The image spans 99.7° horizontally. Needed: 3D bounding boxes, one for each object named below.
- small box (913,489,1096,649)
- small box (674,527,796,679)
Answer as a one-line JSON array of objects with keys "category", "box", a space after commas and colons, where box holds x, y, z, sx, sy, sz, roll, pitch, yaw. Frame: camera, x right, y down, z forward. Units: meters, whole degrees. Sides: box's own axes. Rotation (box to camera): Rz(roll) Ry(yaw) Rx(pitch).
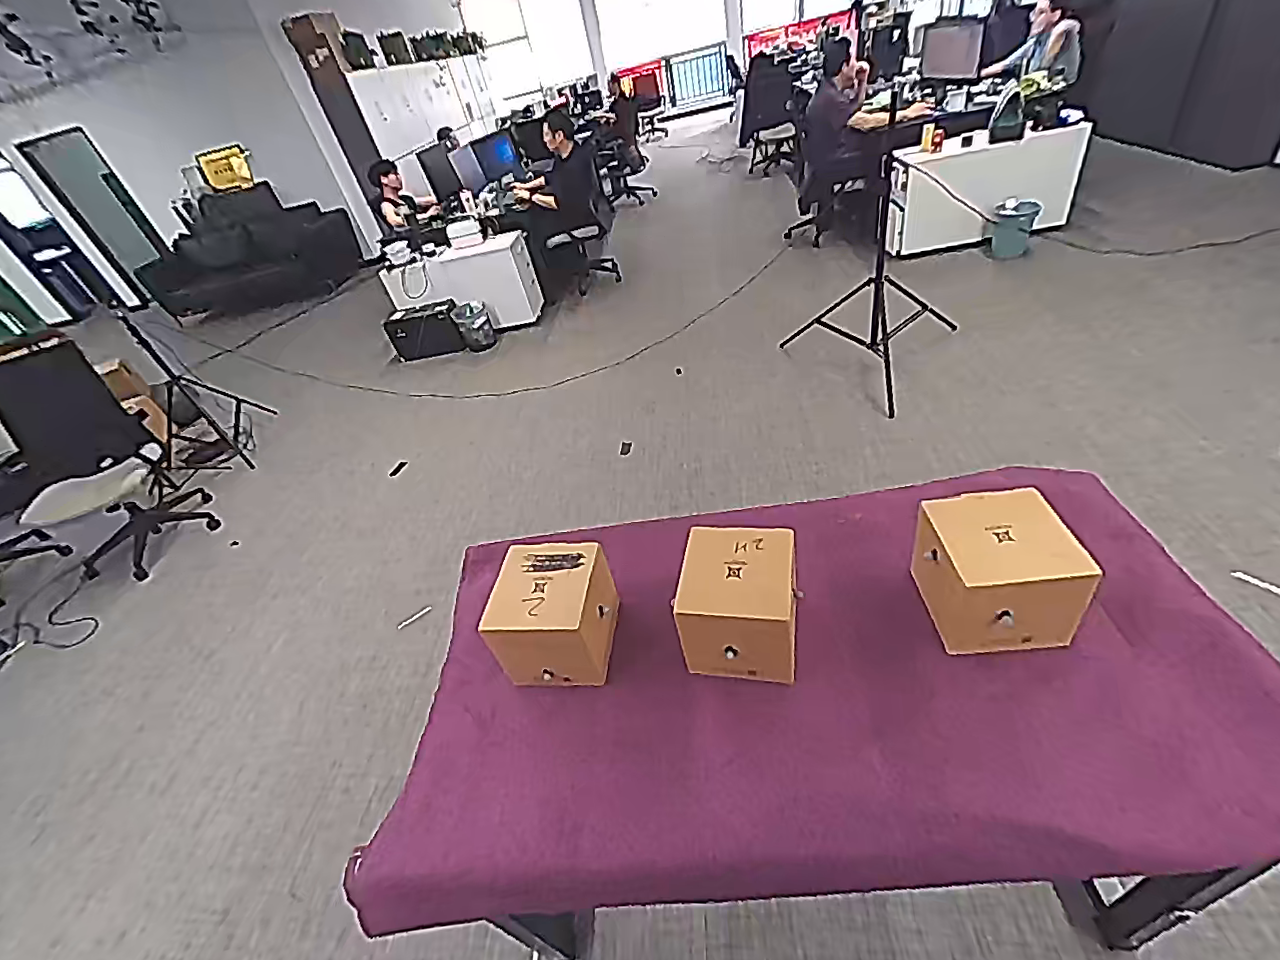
[{"category": "small box", "box": [0.532, 0.141, 0.821, 0.168, 0.176, 0.179, -8, 38, 10]}, {"category": "small box", "box": [0.162, 0.197, 0.871, 0.168, 0.176, 0.179, 1, 41, 18]}]
